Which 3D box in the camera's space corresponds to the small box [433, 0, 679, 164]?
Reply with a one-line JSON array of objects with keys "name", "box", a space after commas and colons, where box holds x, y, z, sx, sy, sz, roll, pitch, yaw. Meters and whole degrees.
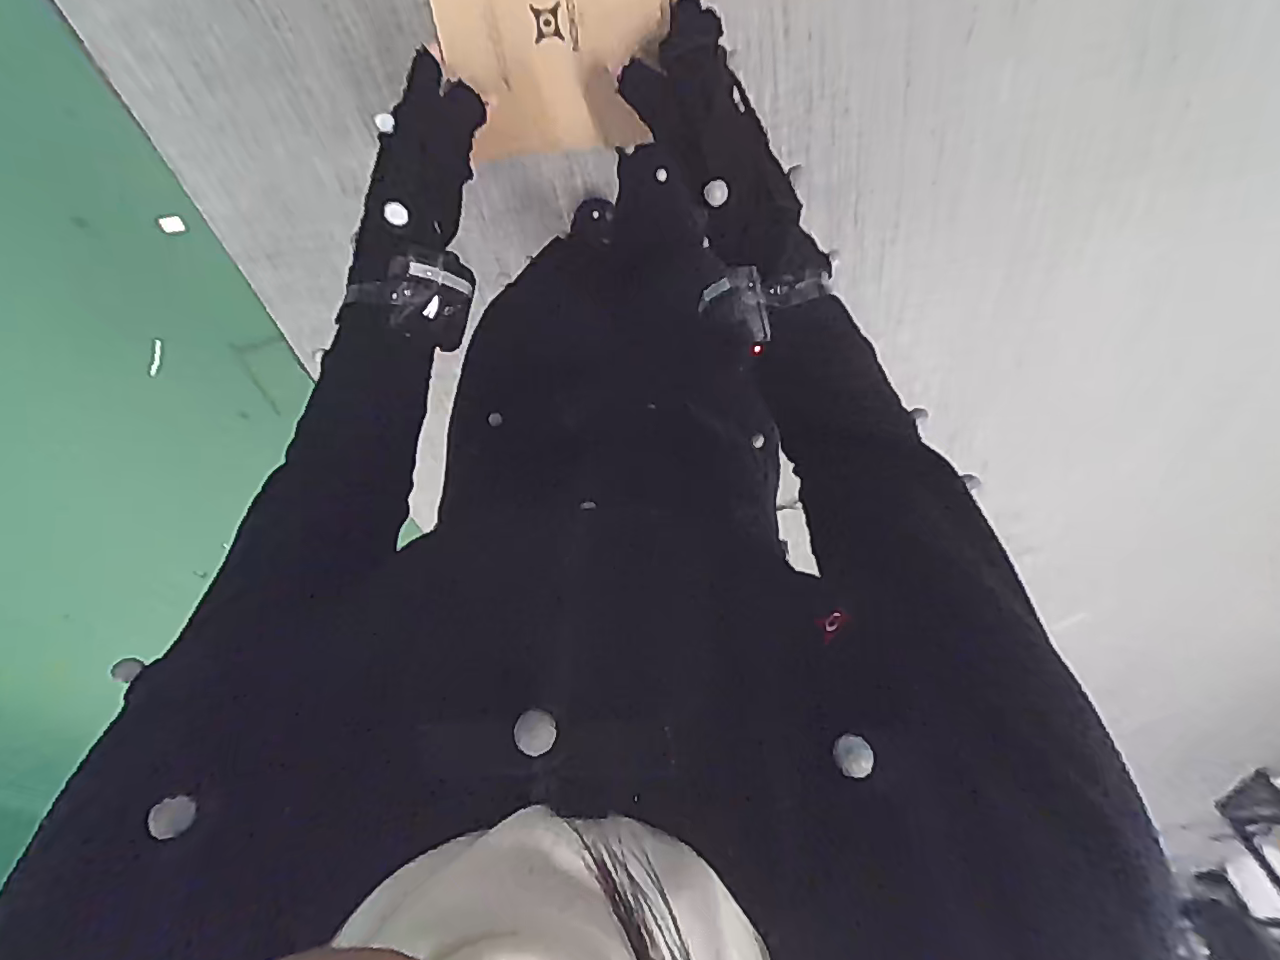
[{"name": "small box", "box": [-0.061, -0.388, 0.467, 0.179, 0.176, 0.168, -4, 127, 6]}]
